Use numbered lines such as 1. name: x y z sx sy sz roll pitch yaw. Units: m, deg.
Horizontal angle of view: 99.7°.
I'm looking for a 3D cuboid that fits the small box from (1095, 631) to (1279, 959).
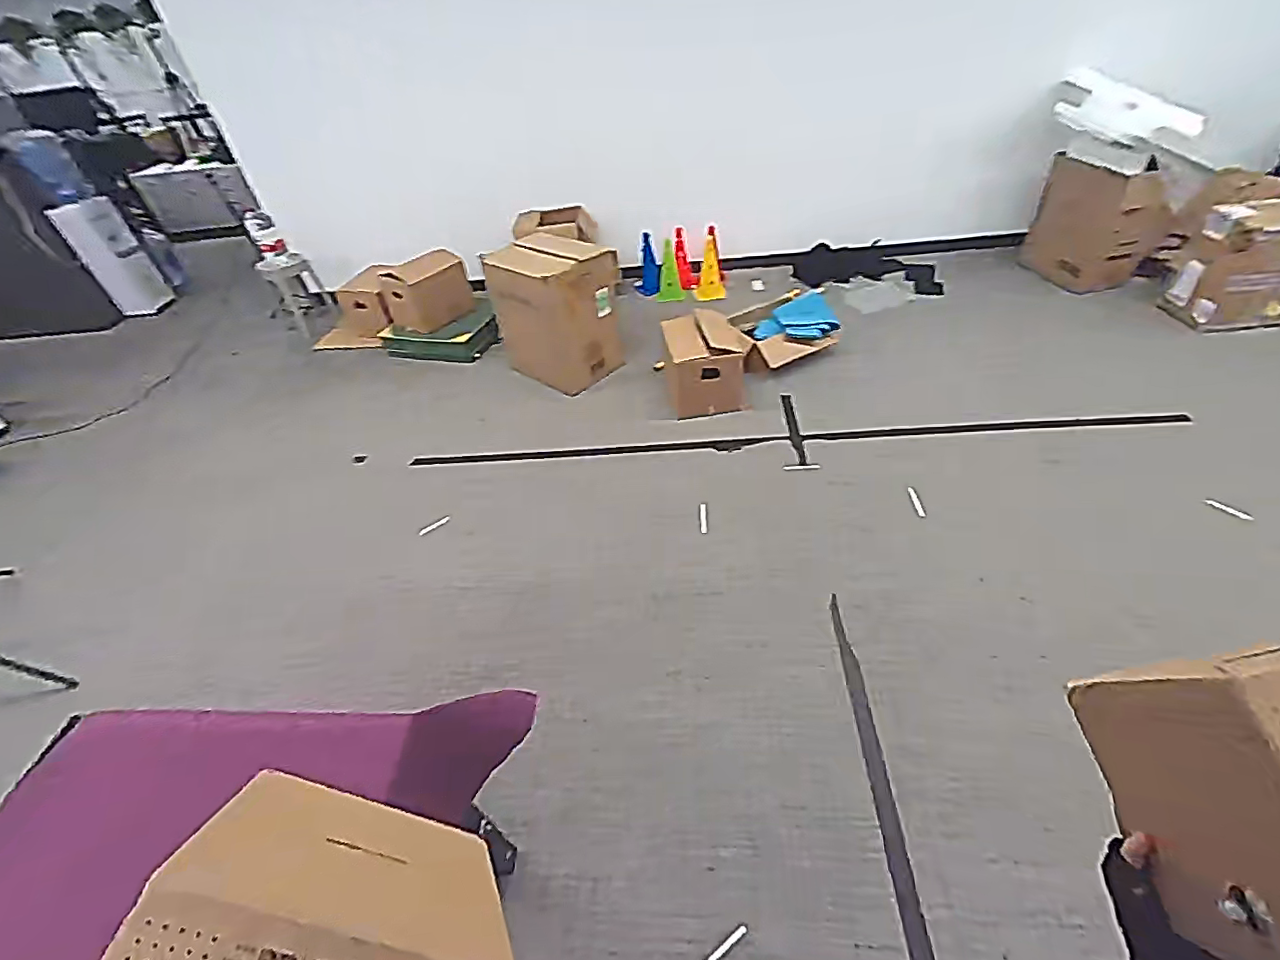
1. small box: 0.417 0.174 0.303 0.168 0.179 0.176 -13 67 6
